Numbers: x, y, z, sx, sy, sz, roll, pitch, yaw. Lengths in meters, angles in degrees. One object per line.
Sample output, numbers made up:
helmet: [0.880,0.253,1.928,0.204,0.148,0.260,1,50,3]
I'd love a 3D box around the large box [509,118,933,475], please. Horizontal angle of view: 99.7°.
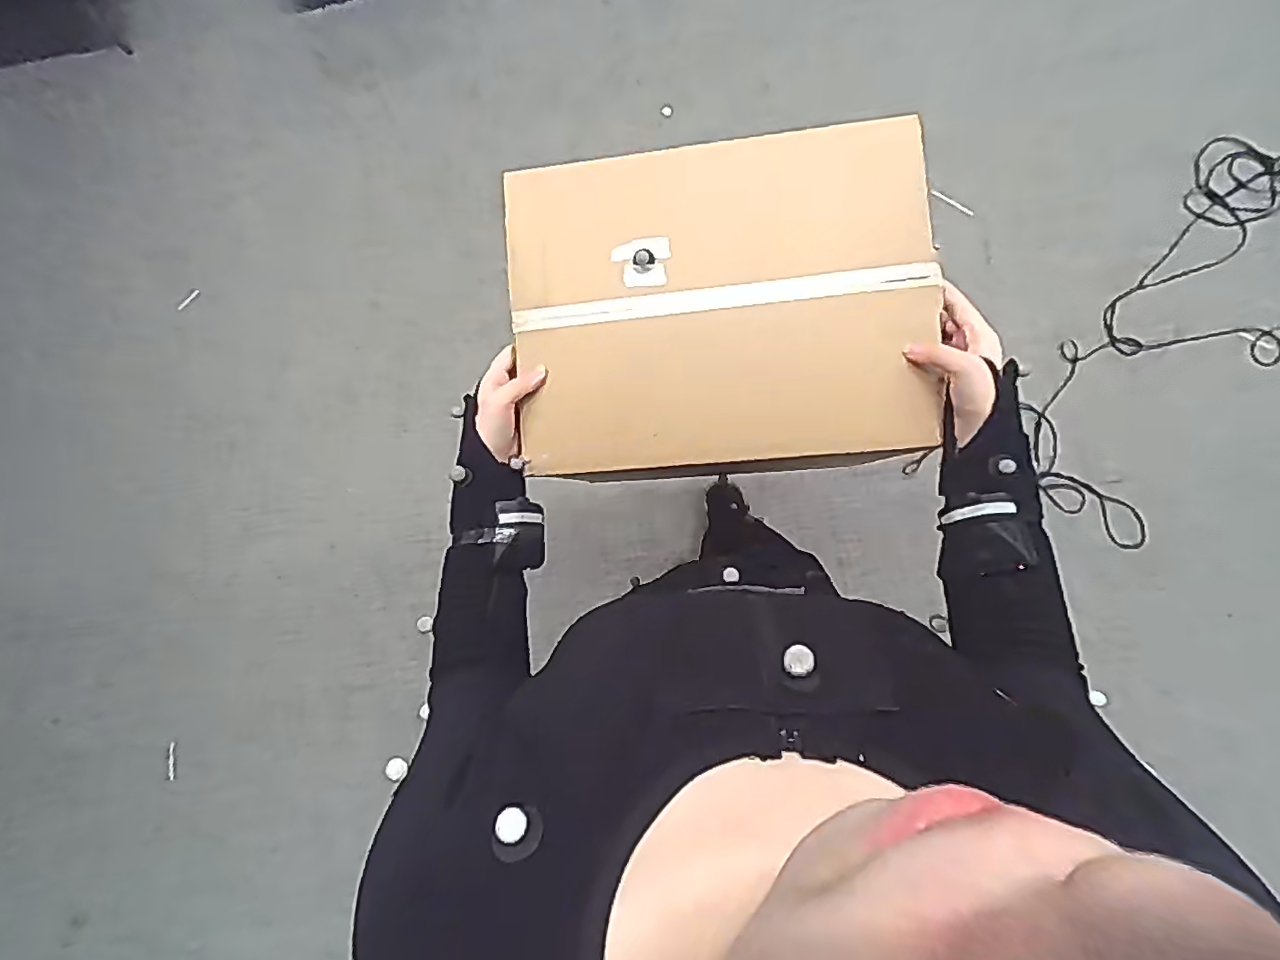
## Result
large box: [0.091,-0.176,0.686,0.408,0.320,0.320,-4,88,8]
